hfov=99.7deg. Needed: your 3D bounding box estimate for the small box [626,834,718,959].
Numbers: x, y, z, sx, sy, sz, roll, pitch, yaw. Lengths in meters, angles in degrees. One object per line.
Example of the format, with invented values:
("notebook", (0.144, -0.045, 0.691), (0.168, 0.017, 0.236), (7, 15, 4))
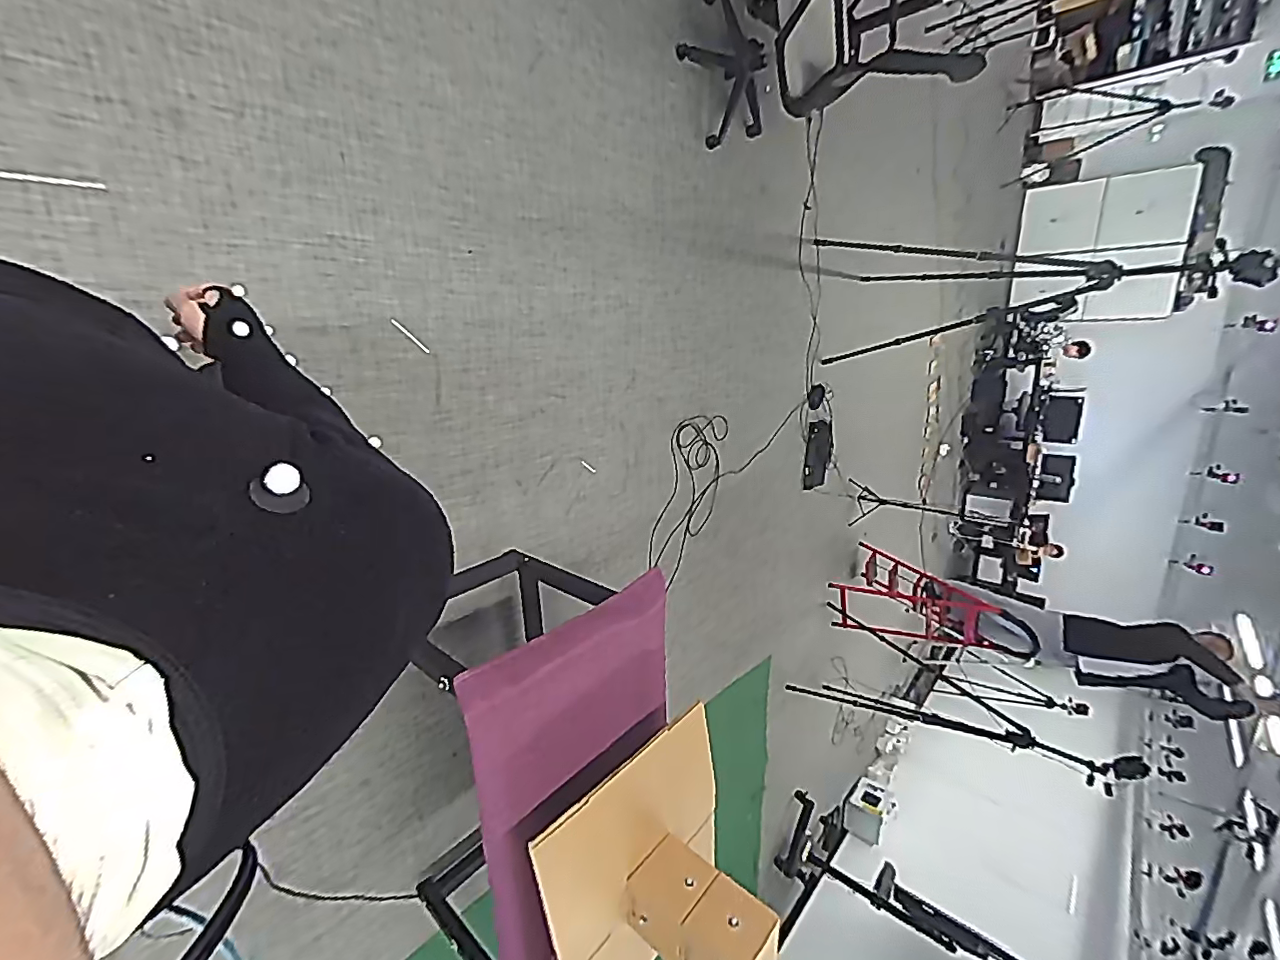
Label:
("small box", (0.082, 1.069, 1.393), (0.179, 0.176, 0.168), (-19, 115, -44))
